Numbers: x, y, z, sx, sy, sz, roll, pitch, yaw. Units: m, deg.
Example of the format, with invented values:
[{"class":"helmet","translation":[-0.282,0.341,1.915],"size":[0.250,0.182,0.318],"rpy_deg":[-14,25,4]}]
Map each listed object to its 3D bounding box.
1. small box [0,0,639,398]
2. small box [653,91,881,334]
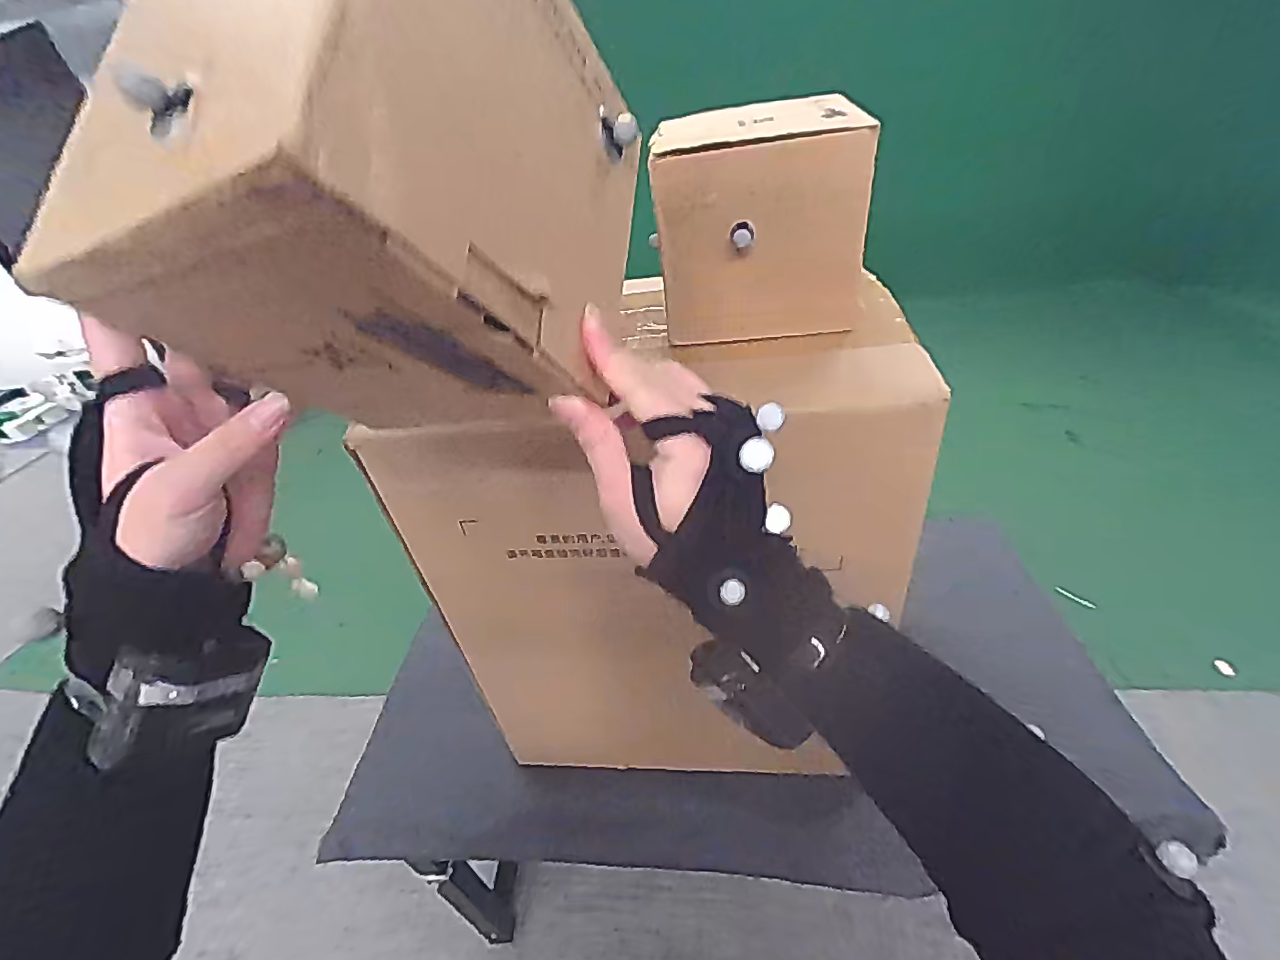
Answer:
[{"class":"small box","translation":[-0.109,-0.152,0.245],"size":[0.179,0.168,0.176],"rpy_deg":[0,73,25]},{"class":"small box","translation":[0.113,-0.254,0.523],"size":[0.179,0.176,0.168],"rpy_deg":[-4,41,8]}]
